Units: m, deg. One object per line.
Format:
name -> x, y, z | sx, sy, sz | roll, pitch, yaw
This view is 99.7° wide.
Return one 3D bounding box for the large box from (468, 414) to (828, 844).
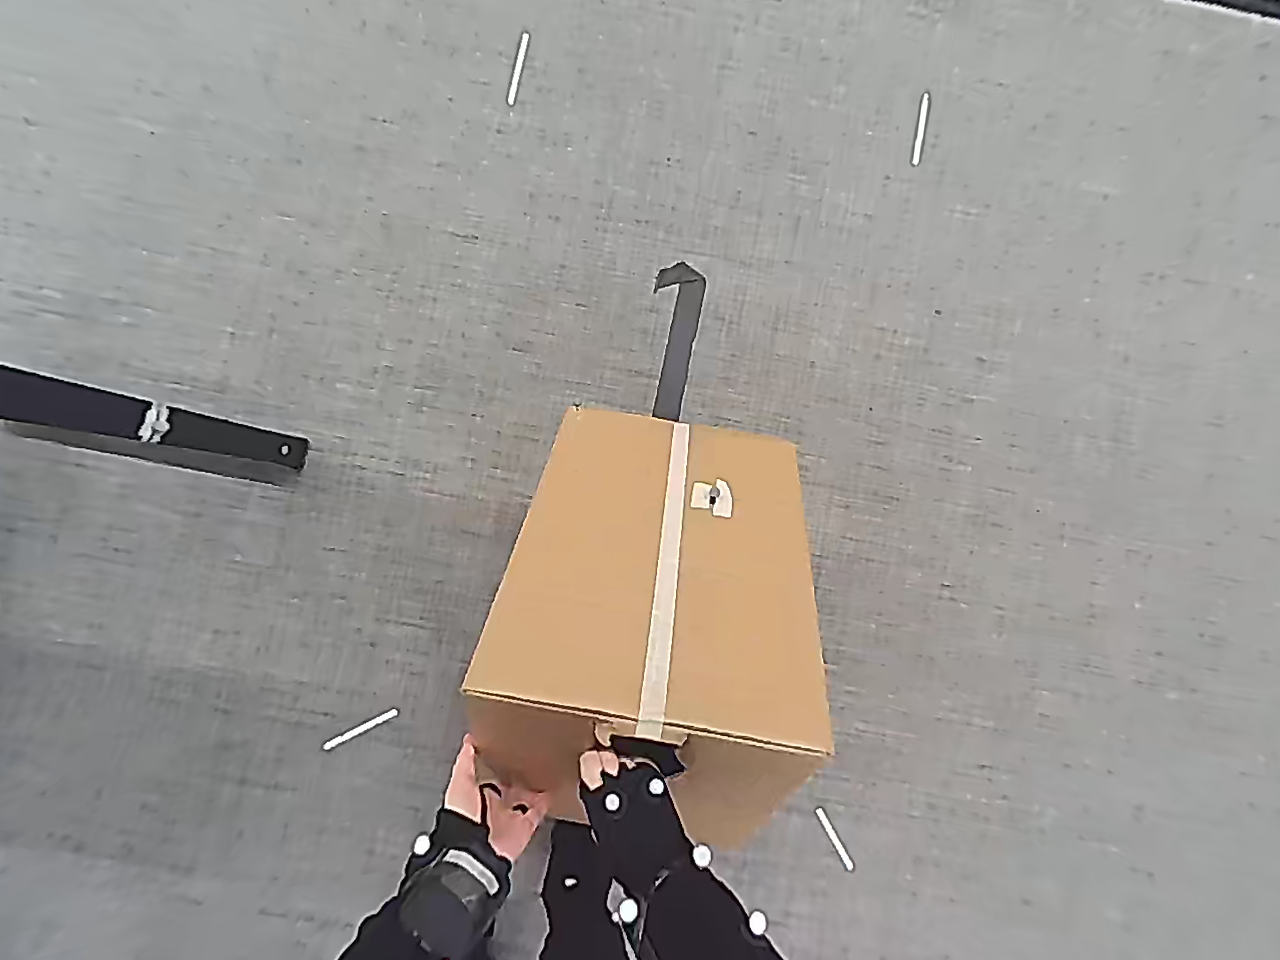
large box -> 0.009, 0.174, 0.687 | 0.320, 0.320, 0.408 | 11, 42, 0
